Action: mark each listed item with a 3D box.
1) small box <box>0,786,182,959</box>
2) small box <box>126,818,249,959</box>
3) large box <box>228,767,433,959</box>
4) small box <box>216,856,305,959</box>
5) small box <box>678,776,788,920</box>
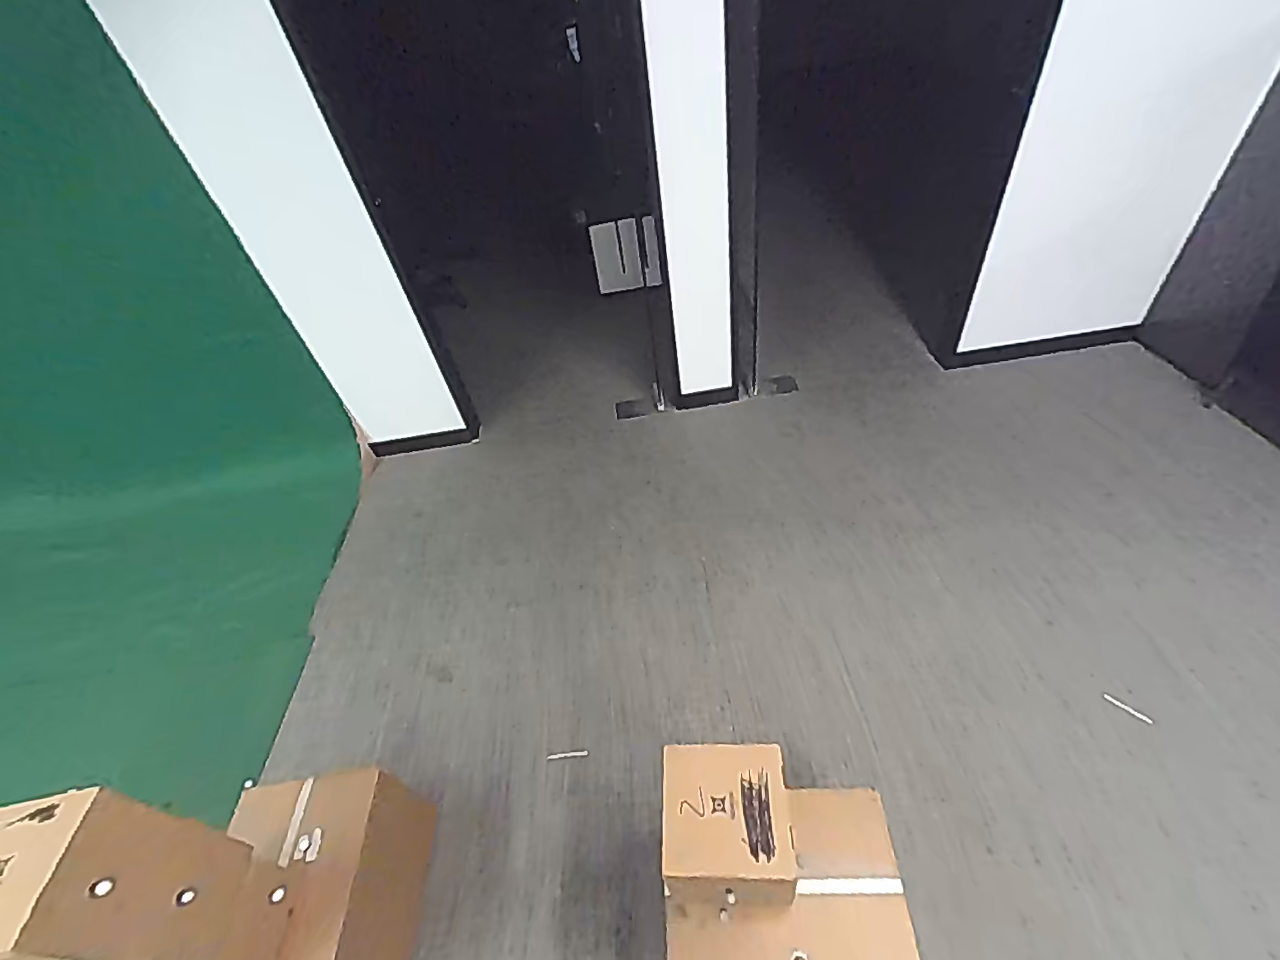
[{"bbox_3d":[-0.768,0.536,0.712,0.168,0.176,0.179,-11,44,-1],"label":"small box"},{"bbox_3d":[-0.748,0.653,0.826,0.168,0.176,0.179,-12,42,-2],"label":"small box"},{"bbox_3d":[-0.681,0.898,1.151,0.320,0.320,0.408,-9,43,2],"label":"large box"},{"bbox_3d":[-0.725,0.775,0.933,0.179,0.176,0.168,-11,43,2],"label":"small box"},{"bbox_3d":[0.154,0.625,0.918,0.168,0.176,0.179,-4,42,6],"label":"small box"}]
